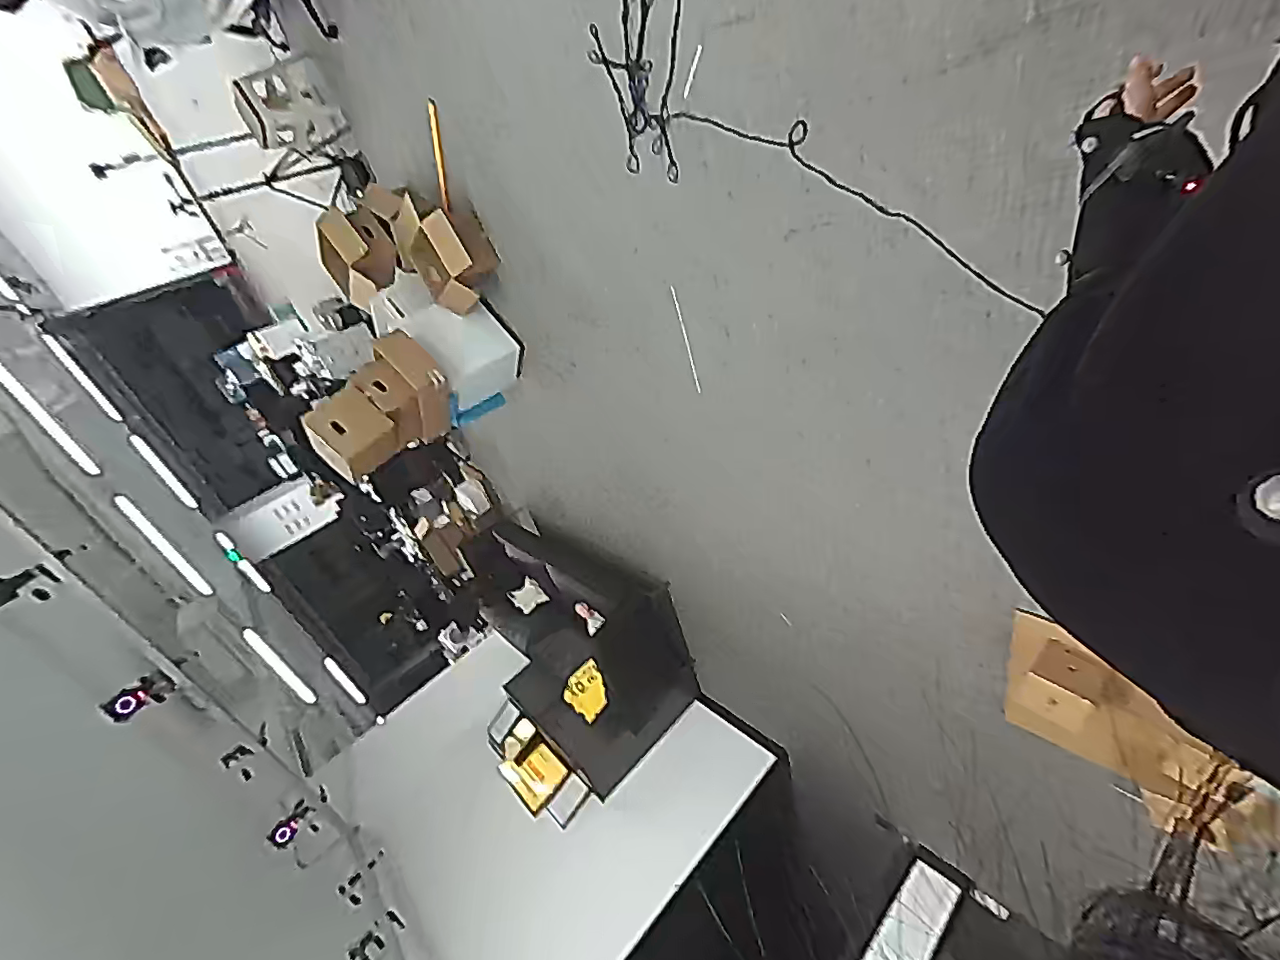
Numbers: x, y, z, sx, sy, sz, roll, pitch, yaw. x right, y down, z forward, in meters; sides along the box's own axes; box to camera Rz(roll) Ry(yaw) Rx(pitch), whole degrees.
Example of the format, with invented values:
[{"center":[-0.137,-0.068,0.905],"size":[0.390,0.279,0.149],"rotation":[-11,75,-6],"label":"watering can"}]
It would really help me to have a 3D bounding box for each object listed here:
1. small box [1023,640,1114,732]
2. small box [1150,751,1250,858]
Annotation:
[{"center":[1.344,0.638,1.693],"size":[0.168,0.176,0.179],"rotation":[27,143,42],"label":"small box"},{"center":[1.643,0.938,1.582],"size":[0.179,0.176,0.168],"rotation":[3,124,58],"label":"small box"}]
